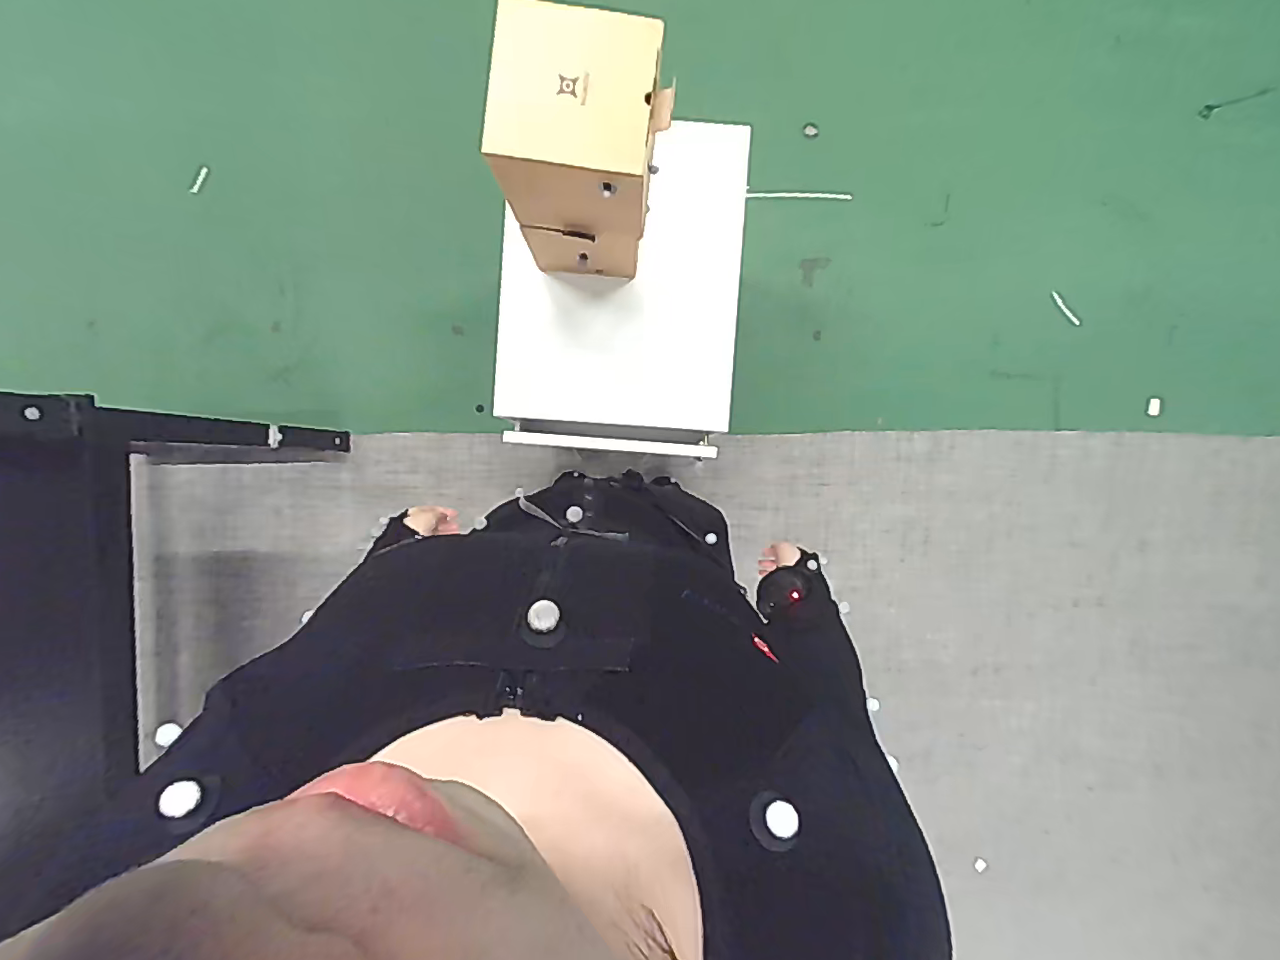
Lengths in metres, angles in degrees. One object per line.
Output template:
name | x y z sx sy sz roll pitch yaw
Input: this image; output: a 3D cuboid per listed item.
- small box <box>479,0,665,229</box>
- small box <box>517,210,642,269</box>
small box | -0.072 -0.417 0.633 0.179 0.176 0.168 7 92 -2
small box | -0.078 -0.427 0.796 0.168 0.176 0.179 4 93 -2
